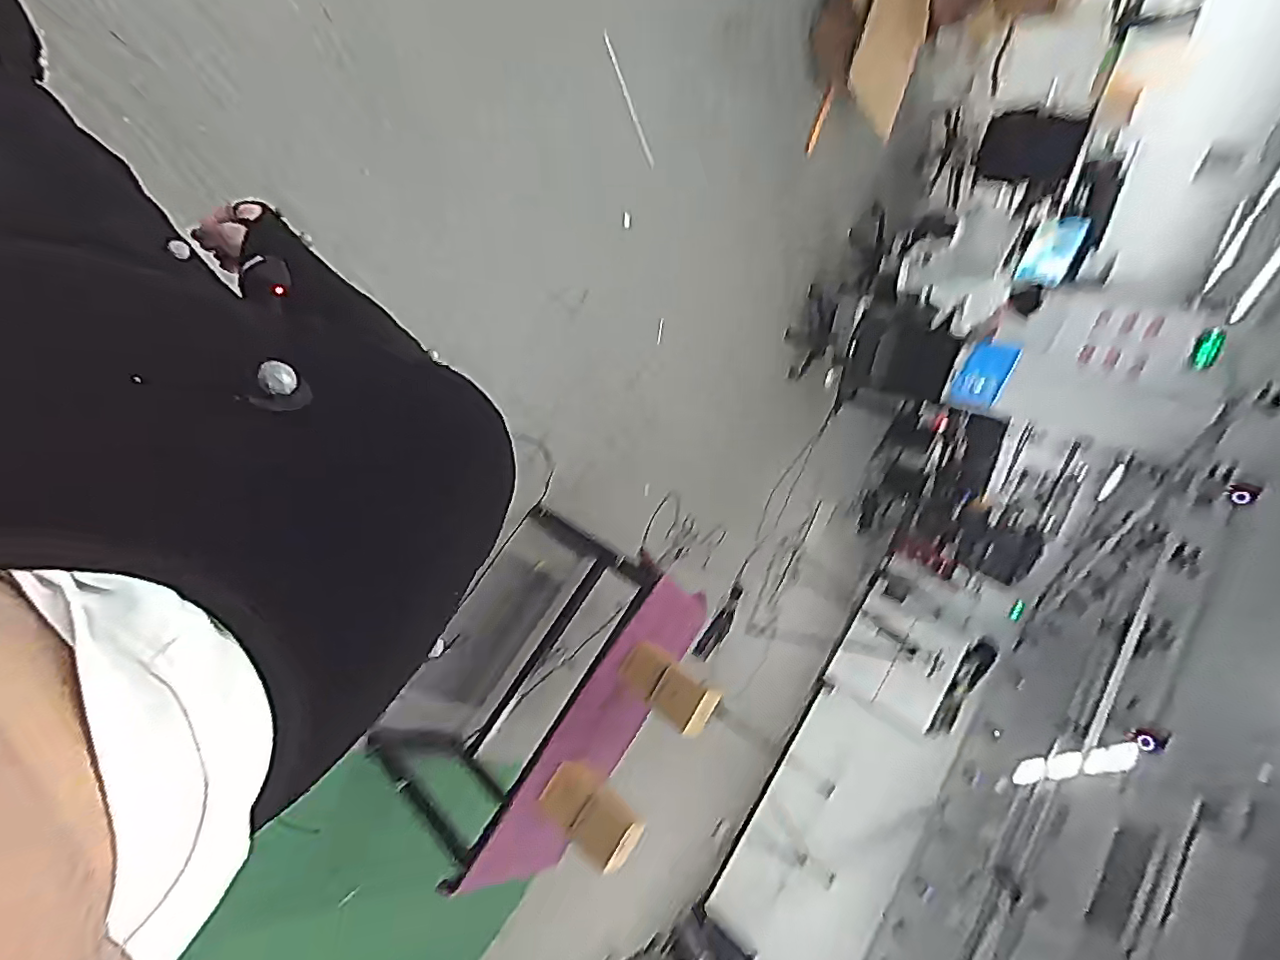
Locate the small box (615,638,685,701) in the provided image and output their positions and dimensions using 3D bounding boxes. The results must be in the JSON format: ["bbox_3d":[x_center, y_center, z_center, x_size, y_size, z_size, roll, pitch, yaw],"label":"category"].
[{"bbox_3d":[0.038,0.718,2.045,0.168,0.176,0.179,-60,148,-8],"label":"small box"}]

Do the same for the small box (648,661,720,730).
[{"bbox_3d":[0.157,0.772,1.941,0.168,0.176,0.179,-58,147,-8],"label":"small box"}]

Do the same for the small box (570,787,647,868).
[{"bbox_3d":[-0.109,1.178,1.845,0.168,0.176,0.179,-56,149,-14],"label":"small box"}]

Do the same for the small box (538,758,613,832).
[{"bbox_3d":[-0.232,1.122,1.938,0.168,0.176,0.179,-58,149,-11],"label":"small box"}]
